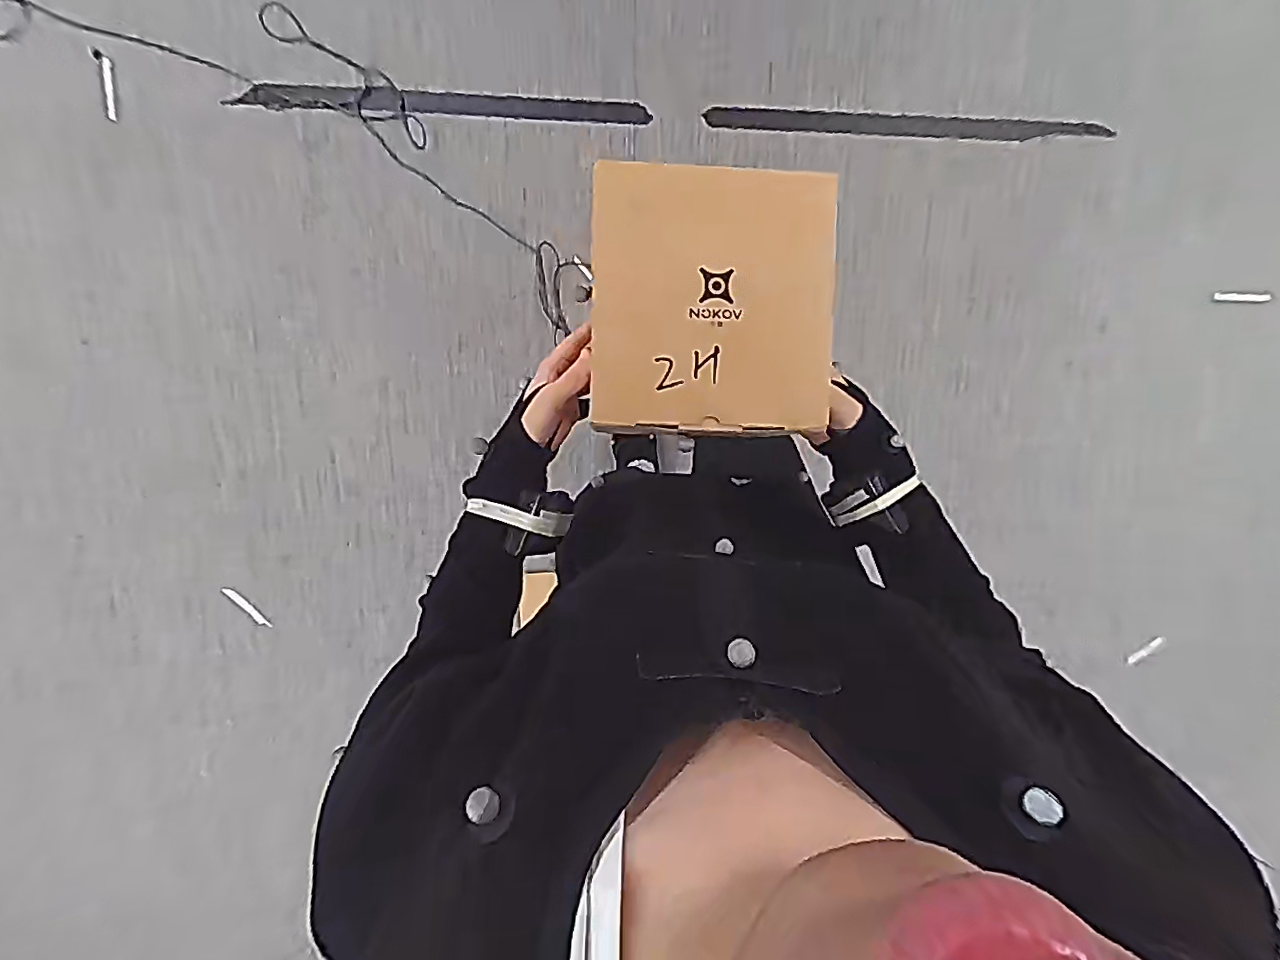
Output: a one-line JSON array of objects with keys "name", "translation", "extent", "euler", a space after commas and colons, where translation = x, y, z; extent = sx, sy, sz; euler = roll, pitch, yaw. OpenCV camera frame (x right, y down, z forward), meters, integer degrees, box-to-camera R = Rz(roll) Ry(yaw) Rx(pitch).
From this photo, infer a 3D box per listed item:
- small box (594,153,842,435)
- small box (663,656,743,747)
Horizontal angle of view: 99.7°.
[{"name": "small box", "translation": [0.047, -0.129, 0.442], "extent": [0.168, 0.176, 0.179], "euler": [1, 94, -4]}, {"name": "small box", "translation": [0.167, 0.603, 1.488], "extent": [0.179, 0.176, 0.168], "euler": [8, 98, -4]}]
